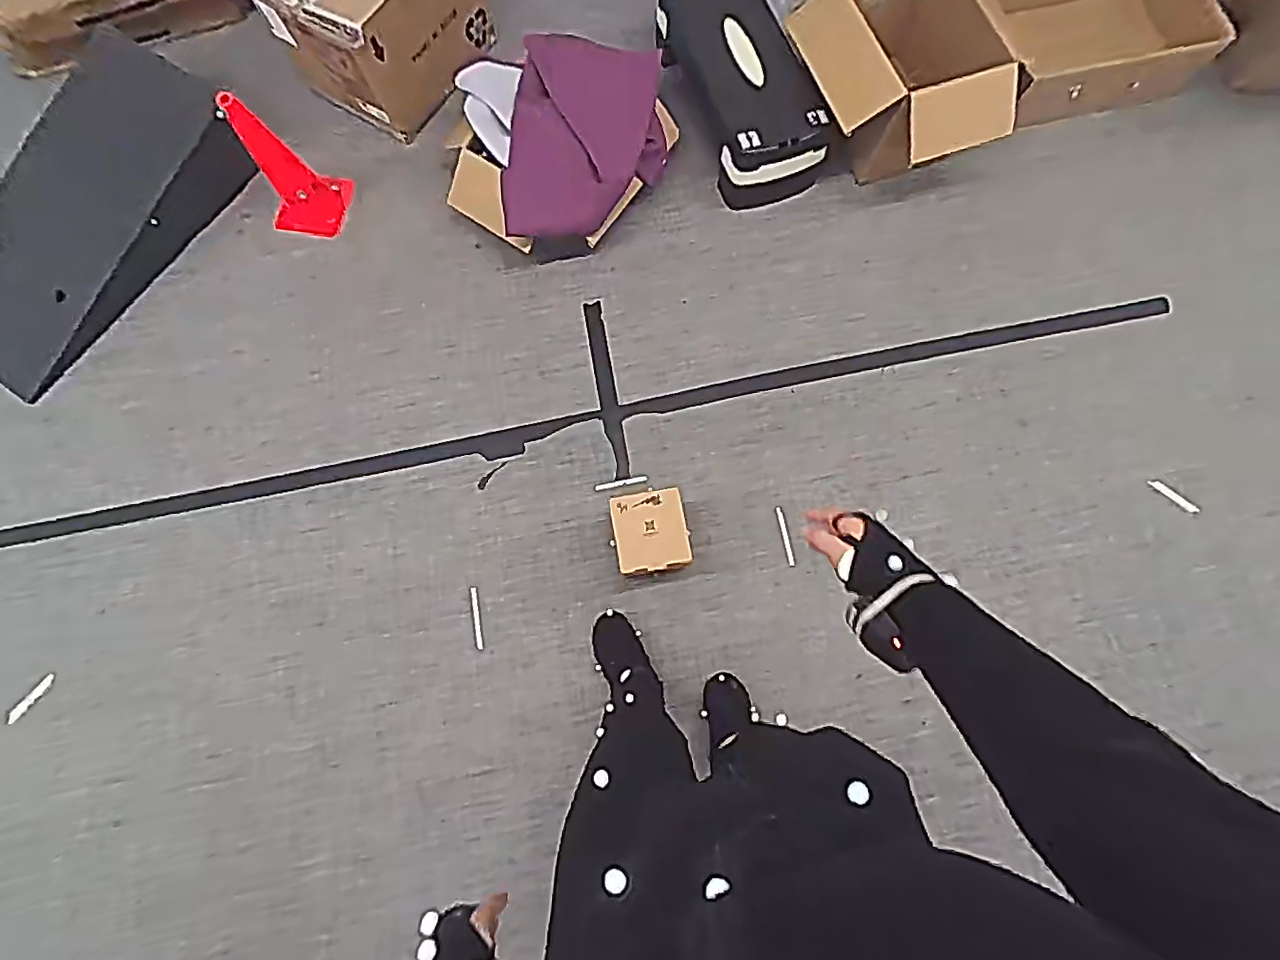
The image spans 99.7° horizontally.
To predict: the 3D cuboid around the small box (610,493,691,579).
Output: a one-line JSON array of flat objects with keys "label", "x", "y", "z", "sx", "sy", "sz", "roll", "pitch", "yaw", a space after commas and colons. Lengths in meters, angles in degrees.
[{"label": "small box", "x": 0.024, "y": 0.140, "z": 1.300, "sx": 0.168, "sy": 0.176, "sz": 0.179, "roll": -9, "pitch": 78, "yaw": -2}]
